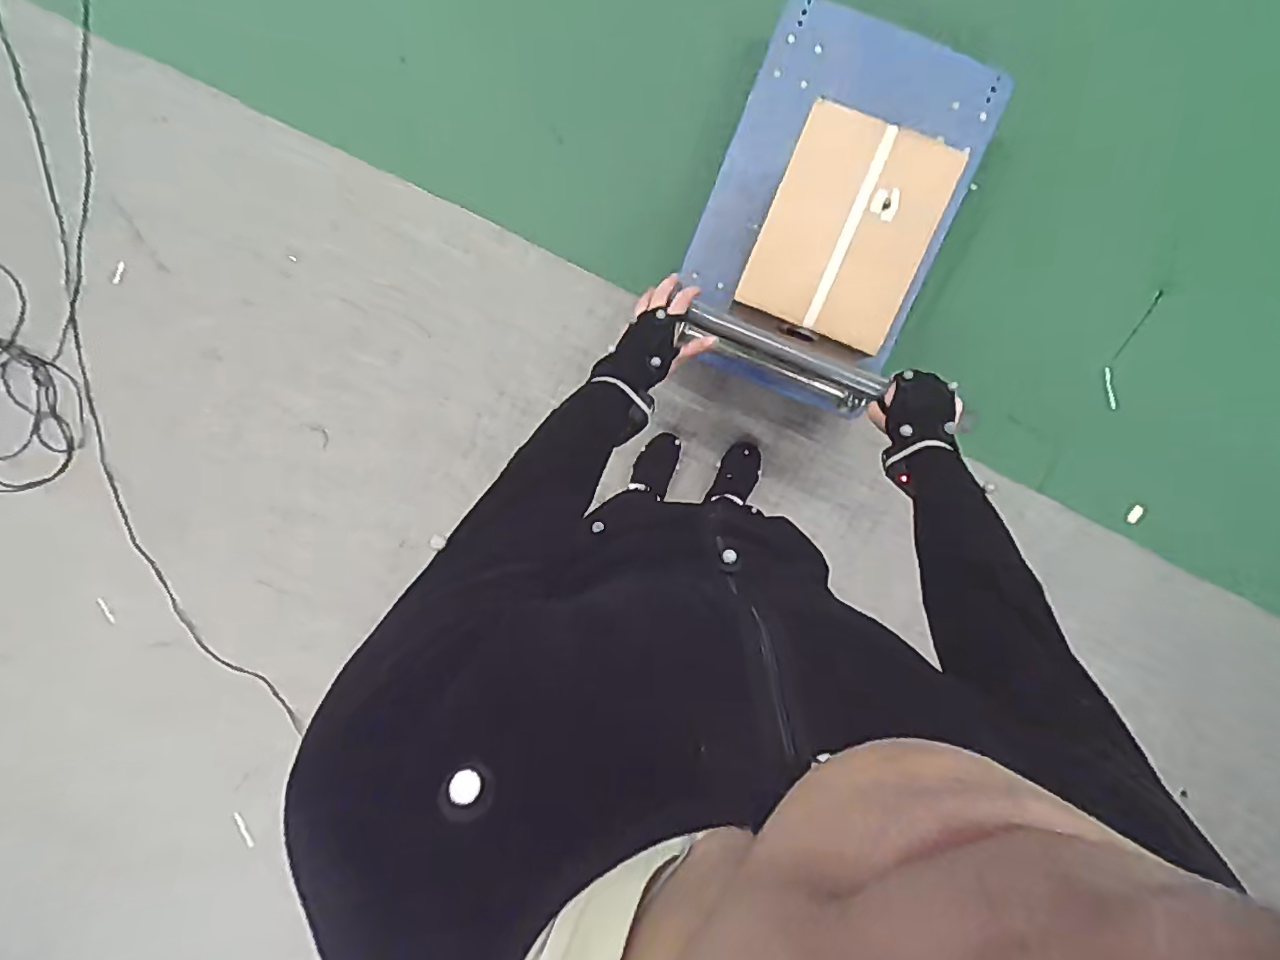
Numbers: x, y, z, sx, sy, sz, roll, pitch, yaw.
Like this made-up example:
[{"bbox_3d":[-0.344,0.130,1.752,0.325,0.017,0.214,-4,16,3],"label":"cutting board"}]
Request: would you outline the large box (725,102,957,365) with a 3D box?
[{"bbox_3d":[0.410,-0.510,1.213,0.320,0.320,0.408,22,98,1],"label":"large box"}]
